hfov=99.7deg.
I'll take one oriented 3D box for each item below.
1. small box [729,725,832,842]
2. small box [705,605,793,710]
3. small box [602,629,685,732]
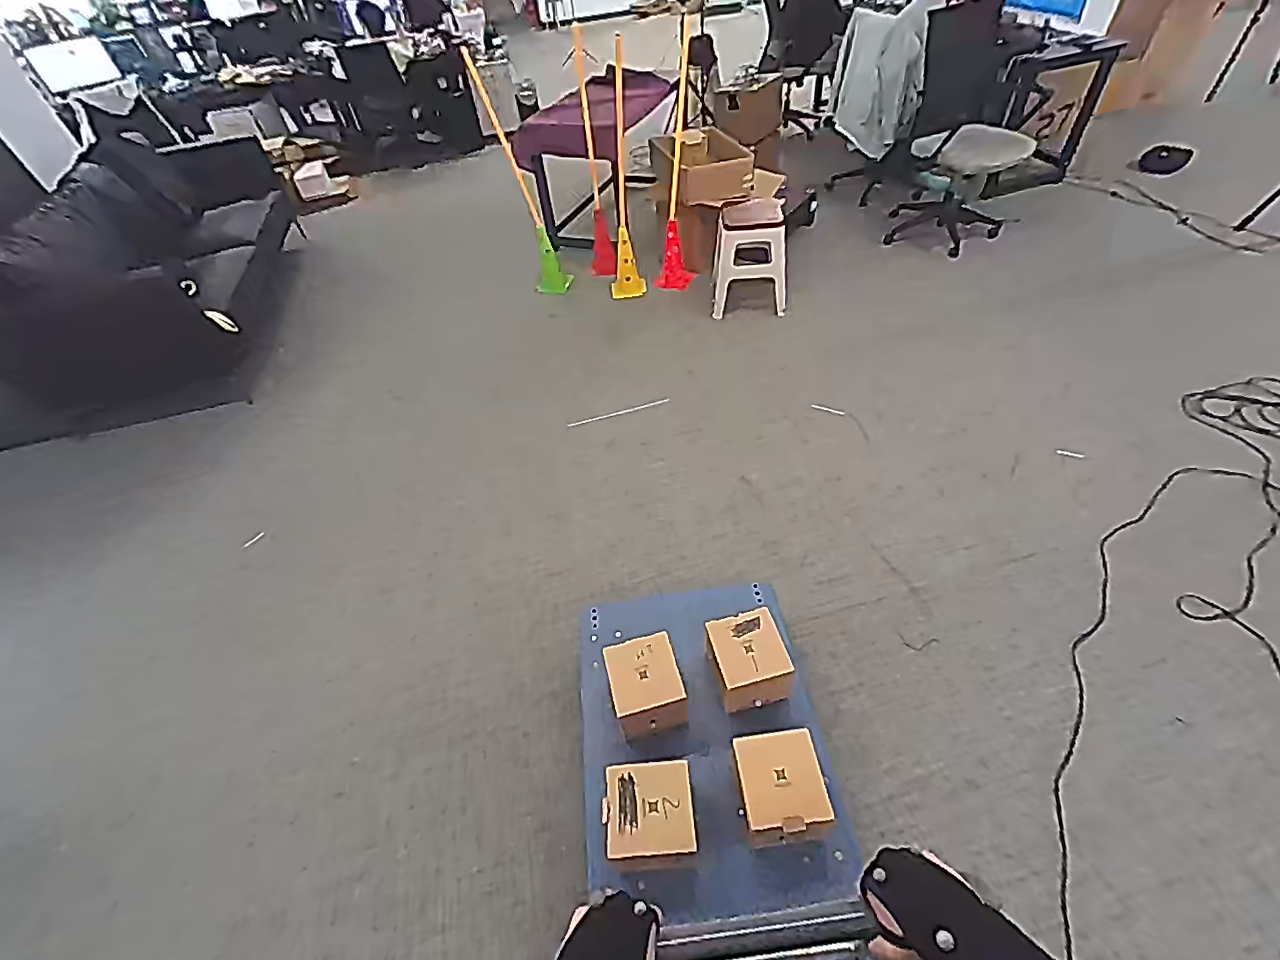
[{"bbox_3d":[0.291,0.656,1.165,0.168,0.176,0.179,-8,48,0],"label":"small box"},{"bbox_3d":[0.264,0.447,1.358,0.168,0.176,0.179,-14,48,-4],"label":"small box"},{"bbox_3d":[0.011,0.502,1.339,0.168,0.176,0.179,-13,47,-6],"label":"small box"}]
